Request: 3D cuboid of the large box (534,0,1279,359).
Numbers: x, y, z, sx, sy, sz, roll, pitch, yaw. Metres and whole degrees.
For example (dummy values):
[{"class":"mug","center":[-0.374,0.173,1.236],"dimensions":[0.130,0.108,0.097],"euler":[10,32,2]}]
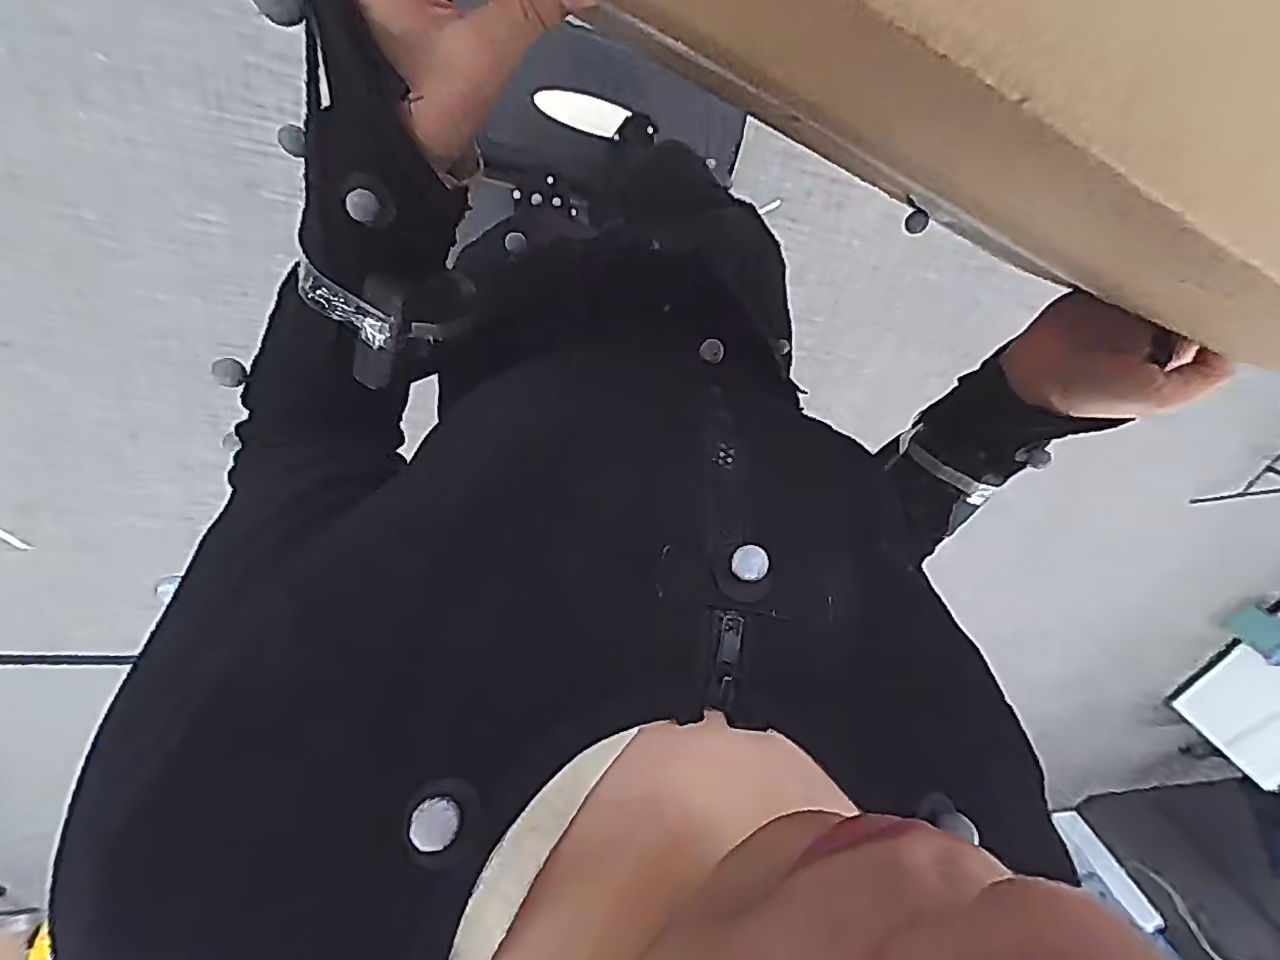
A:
[{"class":"large box","center":[0.154,-0.270,0.163],"dimensions":[0.408,0.320,0.320],"euler":[17,124,-16]}]
